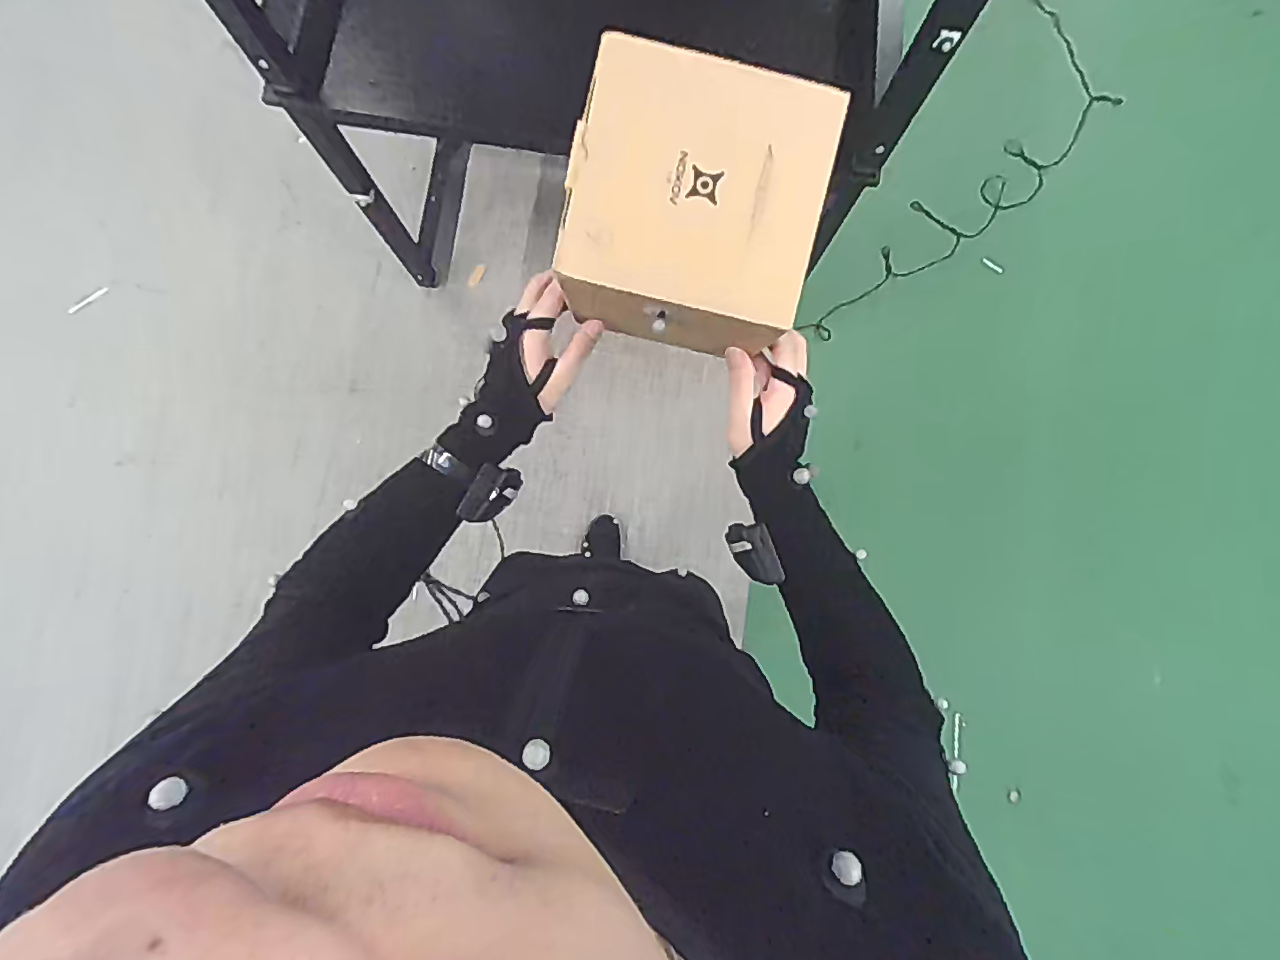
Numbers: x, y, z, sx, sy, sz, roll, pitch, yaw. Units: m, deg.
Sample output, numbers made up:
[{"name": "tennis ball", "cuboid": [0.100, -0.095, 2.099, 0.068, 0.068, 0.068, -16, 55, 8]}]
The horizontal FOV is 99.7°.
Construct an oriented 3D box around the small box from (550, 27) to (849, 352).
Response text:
[{"name": "small box", "cuboid": [0.039, -0.213, 0.449, 0.179, 0.176, 0.168, 13, 95, -2]}]
